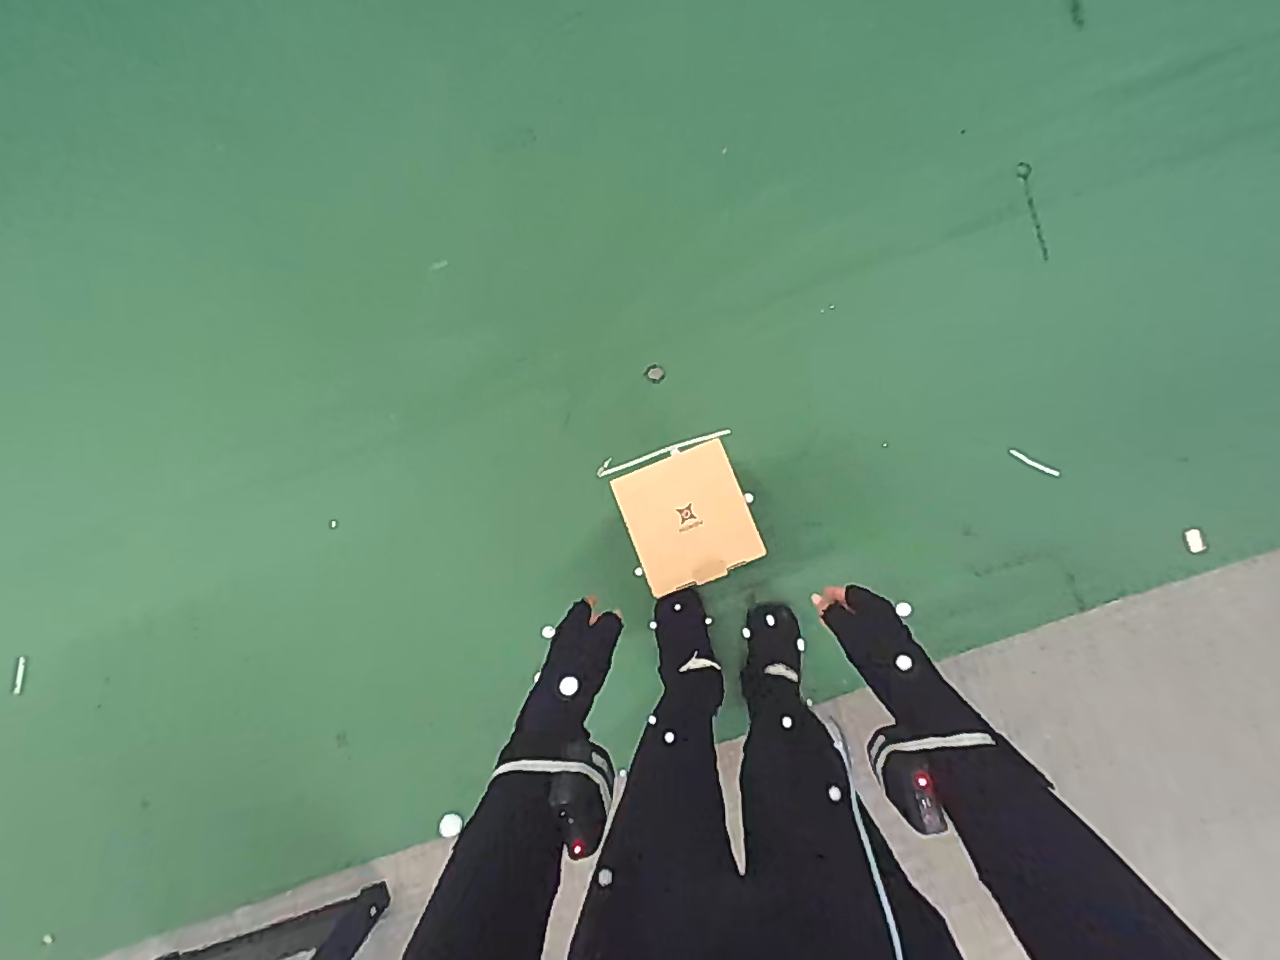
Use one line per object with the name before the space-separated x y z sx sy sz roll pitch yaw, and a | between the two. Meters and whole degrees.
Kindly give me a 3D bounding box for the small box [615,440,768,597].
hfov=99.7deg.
small box | 0.072 0.058 0.823 0.168 0.176 0.179 -22 87 1
